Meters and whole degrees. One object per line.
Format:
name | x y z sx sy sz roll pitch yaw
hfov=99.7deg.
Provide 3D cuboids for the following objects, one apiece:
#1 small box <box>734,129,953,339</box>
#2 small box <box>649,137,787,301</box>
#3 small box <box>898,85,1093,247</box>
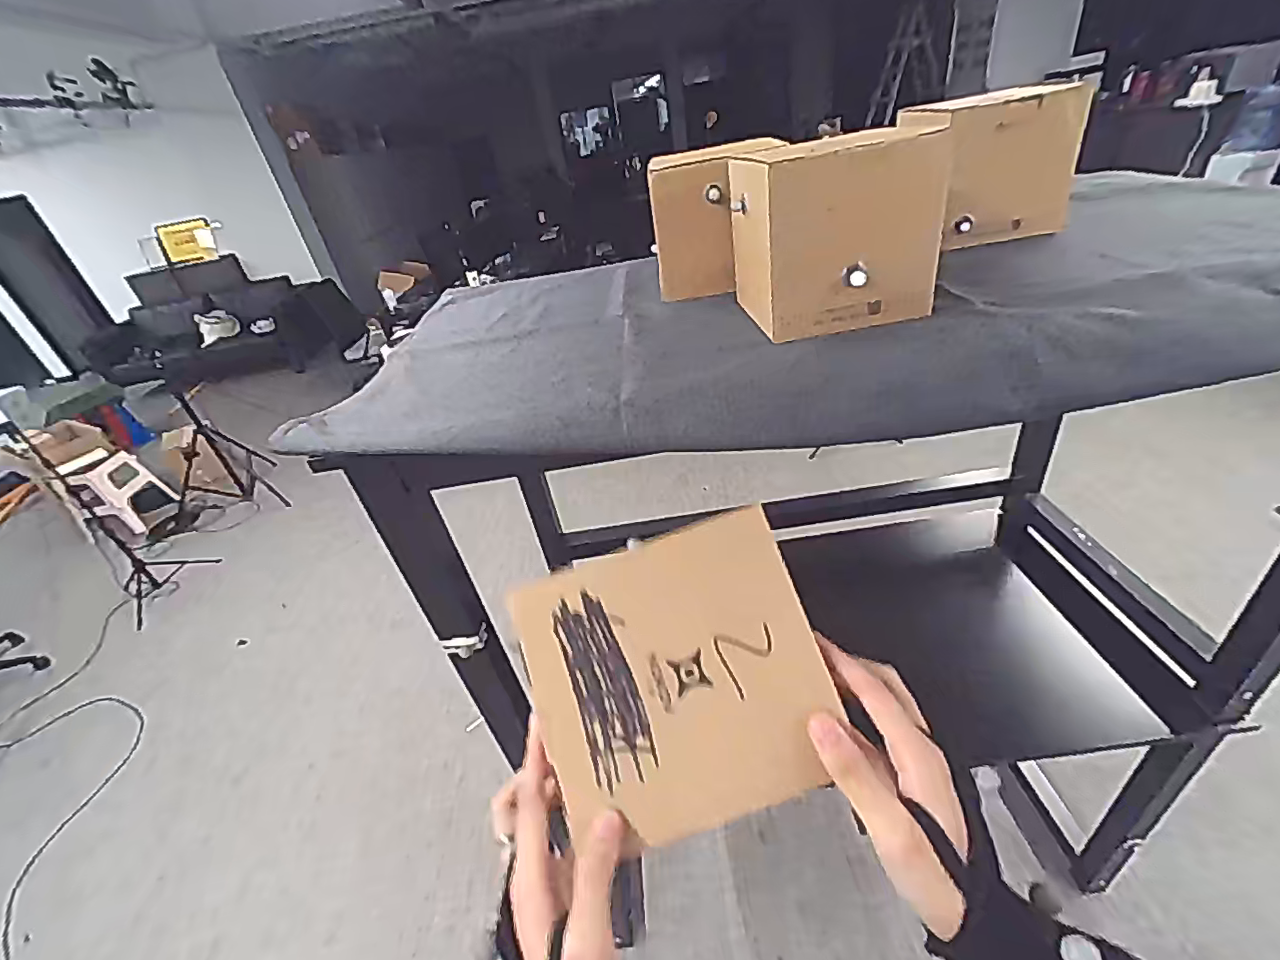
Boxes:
small box | 0.200 -0.267 0.586 0.168 0.176 0.179 -9 33 2
small box | 0.112 -0.368 0.764 0.179 0.176 0.168 -6 34 7
small box | 0.473 -0.434 0.760 0.168 0.176 0.179 -7 33 5
